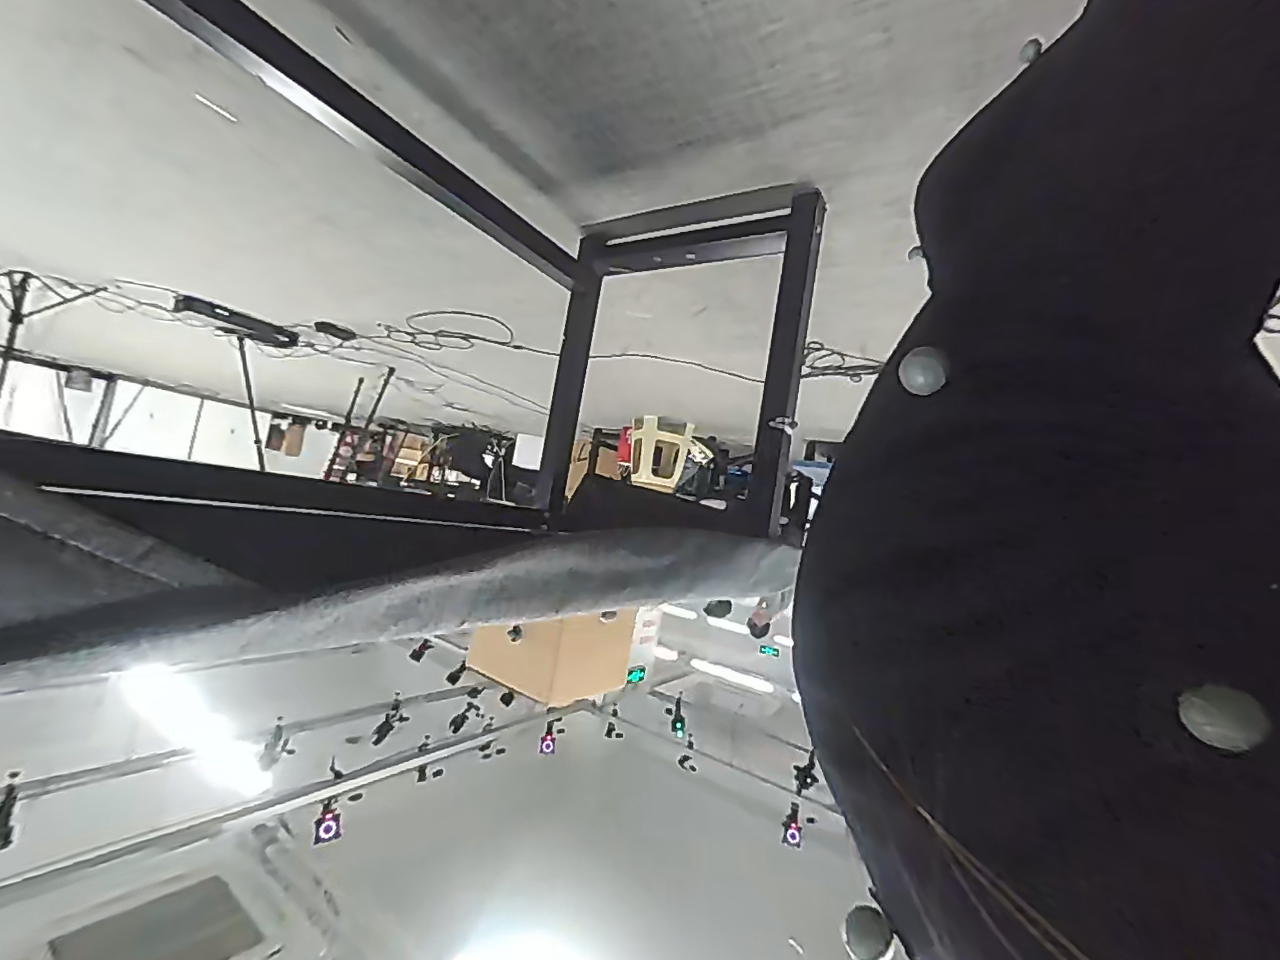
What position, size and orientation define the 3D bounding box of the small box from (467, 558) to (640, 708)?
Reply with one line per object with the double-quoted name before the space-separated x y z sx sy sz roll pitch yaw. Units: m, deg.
"small box" -0.121 0.209 0.793 0.179 0.176 0.168 7 175 37
